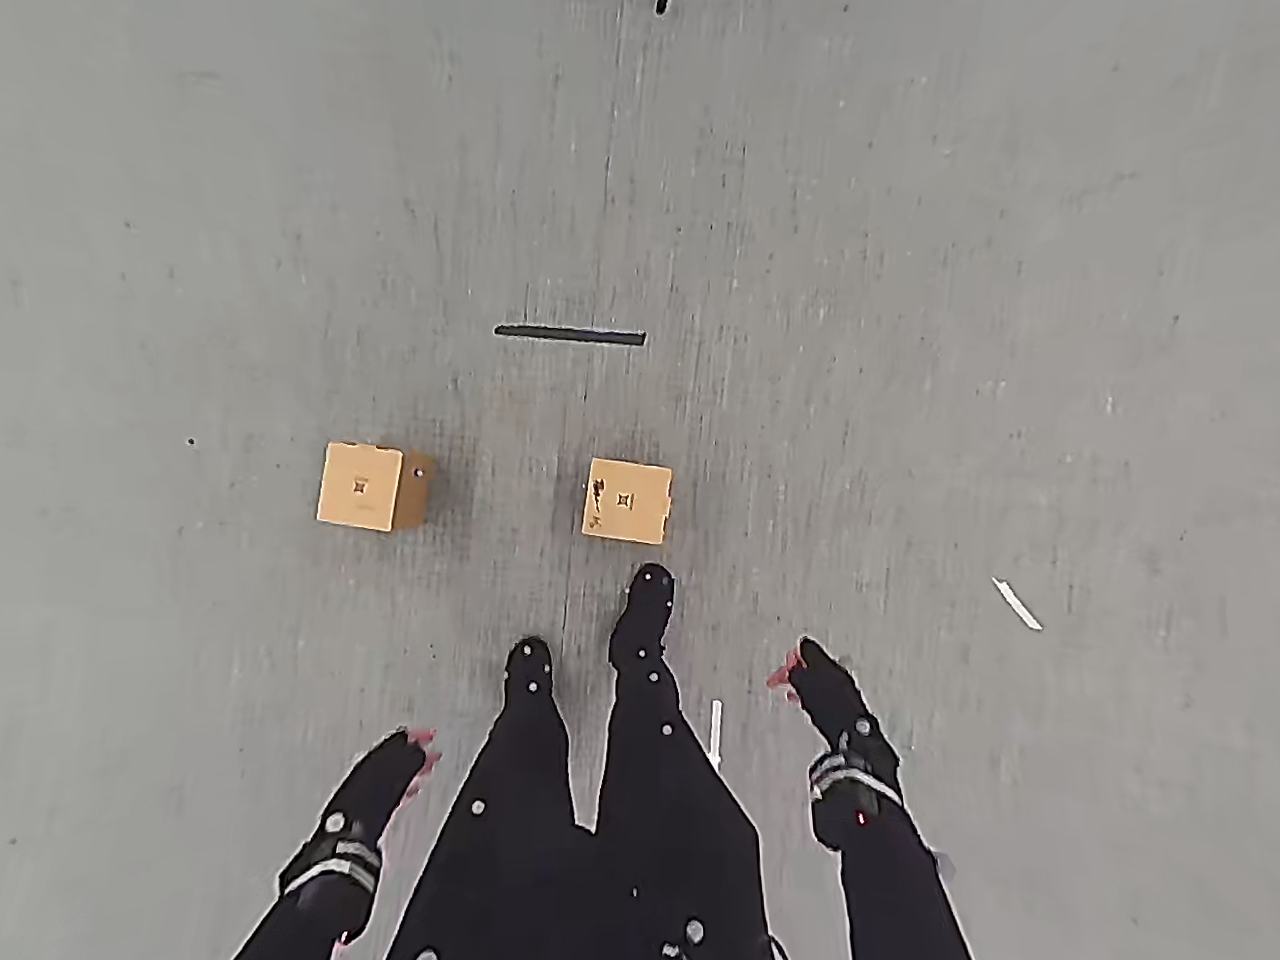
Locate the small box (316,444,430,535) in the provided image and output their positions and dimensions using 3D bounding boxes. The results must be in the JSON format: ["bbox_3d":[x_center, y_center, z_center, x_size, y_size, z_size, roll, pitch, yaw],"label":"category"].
[{"bbox_3d":[-0.594,0.021,1.225,0.168,0.176,0.179,8,90,2],"label":"small box"}]

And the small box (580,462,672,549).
[{"bbox_3d":[-0.031,0.054,1.219,0.179,0.176,0.168,8,89,-1],"label":"small box"}]
